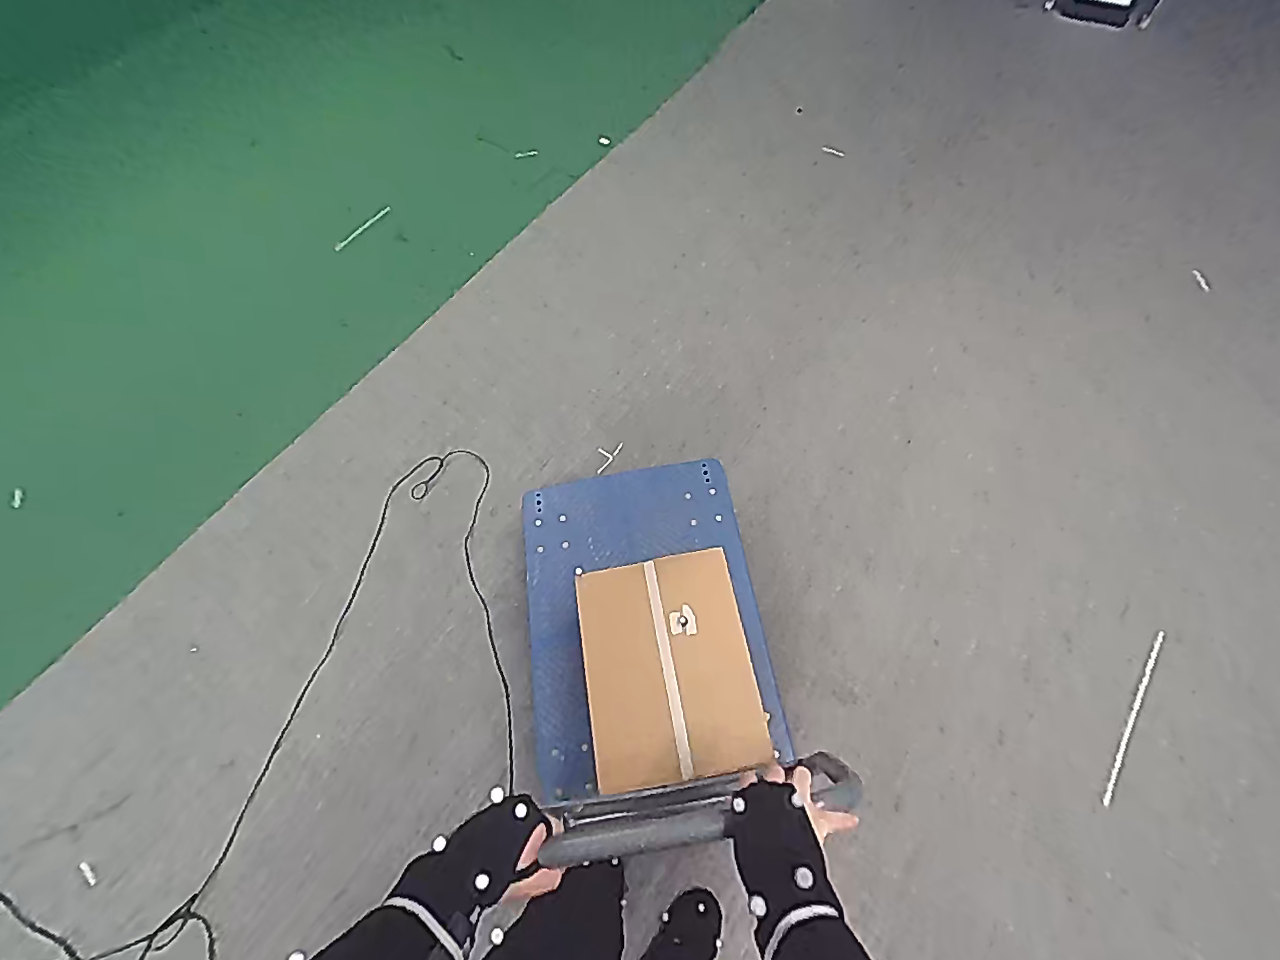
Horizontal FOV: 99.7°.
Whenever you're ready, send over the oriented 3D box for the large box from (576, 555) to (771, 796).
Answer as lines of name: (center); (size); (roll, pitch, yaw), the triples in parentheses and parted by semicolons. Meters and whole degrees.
large box: (0.064, 0.426, 1.174); (0.320, 0.320, 0.408); (-11, 62, 0)
